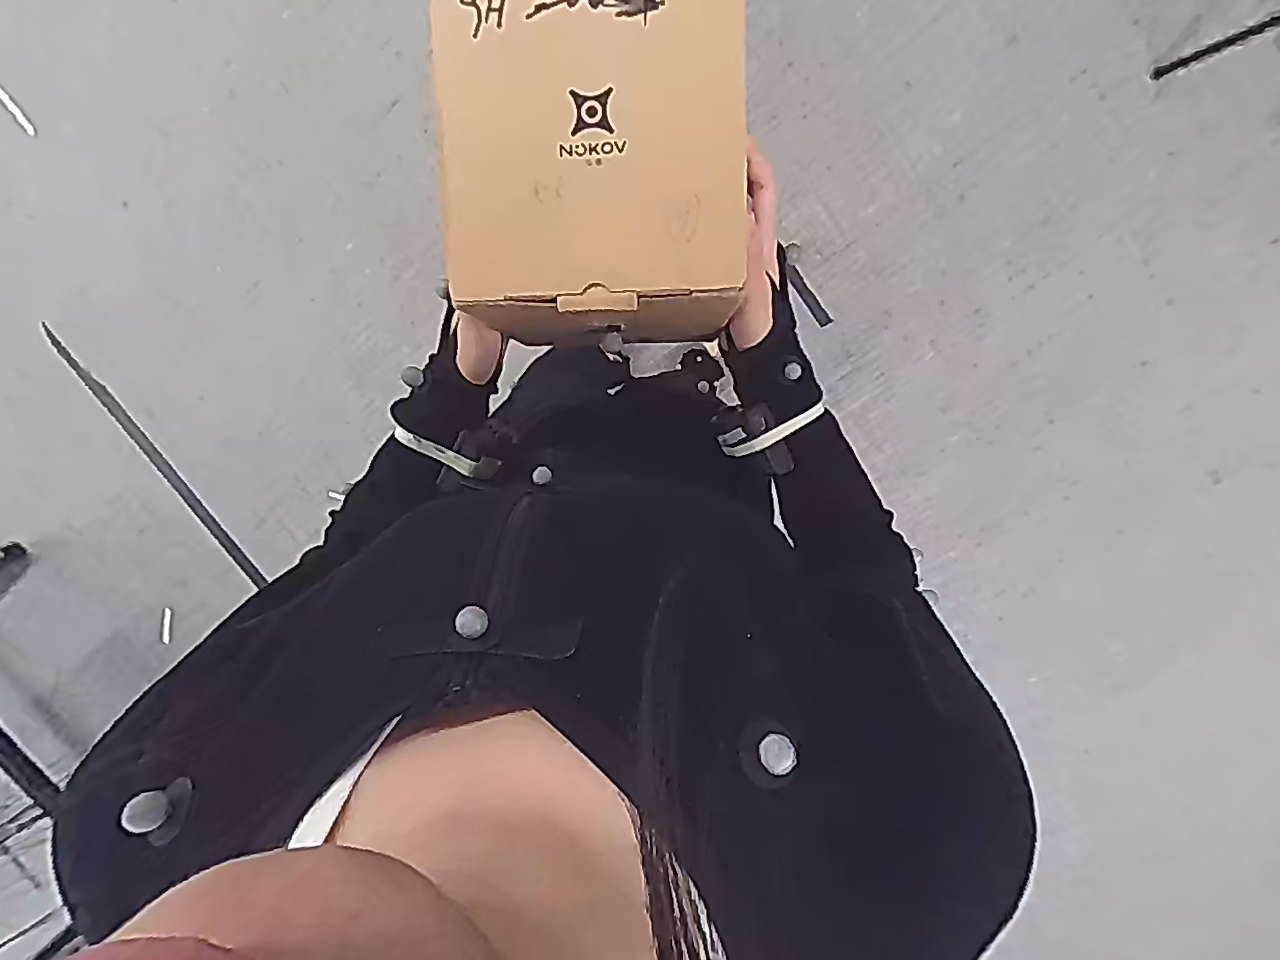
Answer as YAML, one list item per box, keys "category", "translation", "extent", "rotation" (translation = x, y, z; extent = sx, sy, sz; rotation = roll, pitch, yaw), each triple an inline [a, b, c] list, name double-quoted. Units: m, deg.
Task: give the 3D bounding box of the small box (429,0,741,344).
- category: "small box"
  translation: [-0.023, -0.189, 0.368]
  extent: [0.168, 0.176, 0.179]
  rotation: [-2, 97, 3]

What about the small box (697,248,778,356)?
- category: "small box"
  translation: [0.164, -0.376, 1.131]
  extent: [0.168, 0.176, 0.179]
  rotation: [-36, 96, 15]
